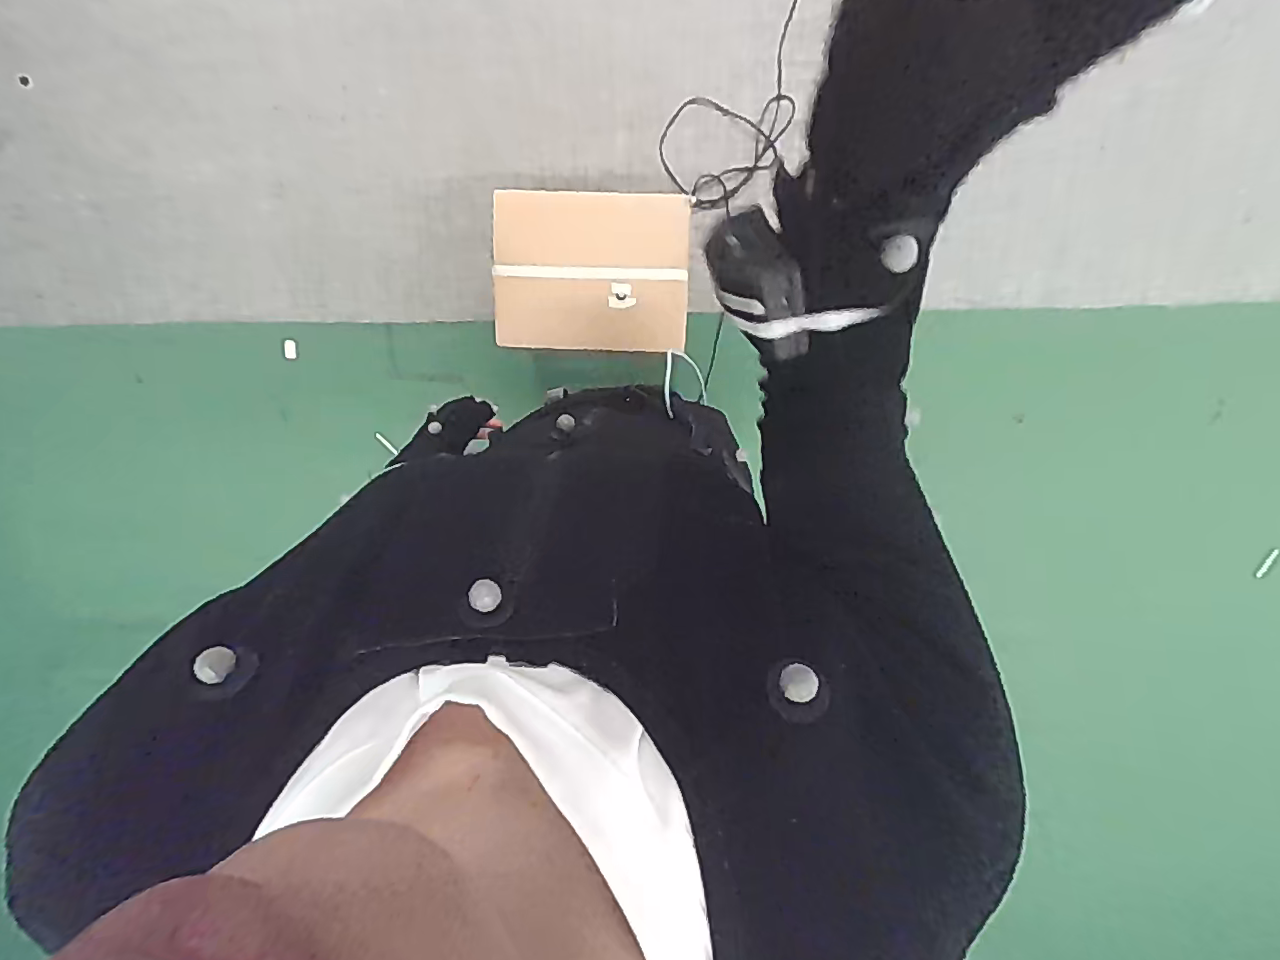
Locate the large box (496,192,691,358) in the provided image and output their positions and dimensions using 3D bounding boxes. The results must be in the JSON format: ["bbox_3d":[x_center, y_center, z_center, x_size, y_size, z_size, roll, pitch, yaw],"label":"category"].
[{"bbox_3d":[-0.098,-0.455,1.269,0.408,0.320,0.320,2,100,1],"label":"large box"}]
